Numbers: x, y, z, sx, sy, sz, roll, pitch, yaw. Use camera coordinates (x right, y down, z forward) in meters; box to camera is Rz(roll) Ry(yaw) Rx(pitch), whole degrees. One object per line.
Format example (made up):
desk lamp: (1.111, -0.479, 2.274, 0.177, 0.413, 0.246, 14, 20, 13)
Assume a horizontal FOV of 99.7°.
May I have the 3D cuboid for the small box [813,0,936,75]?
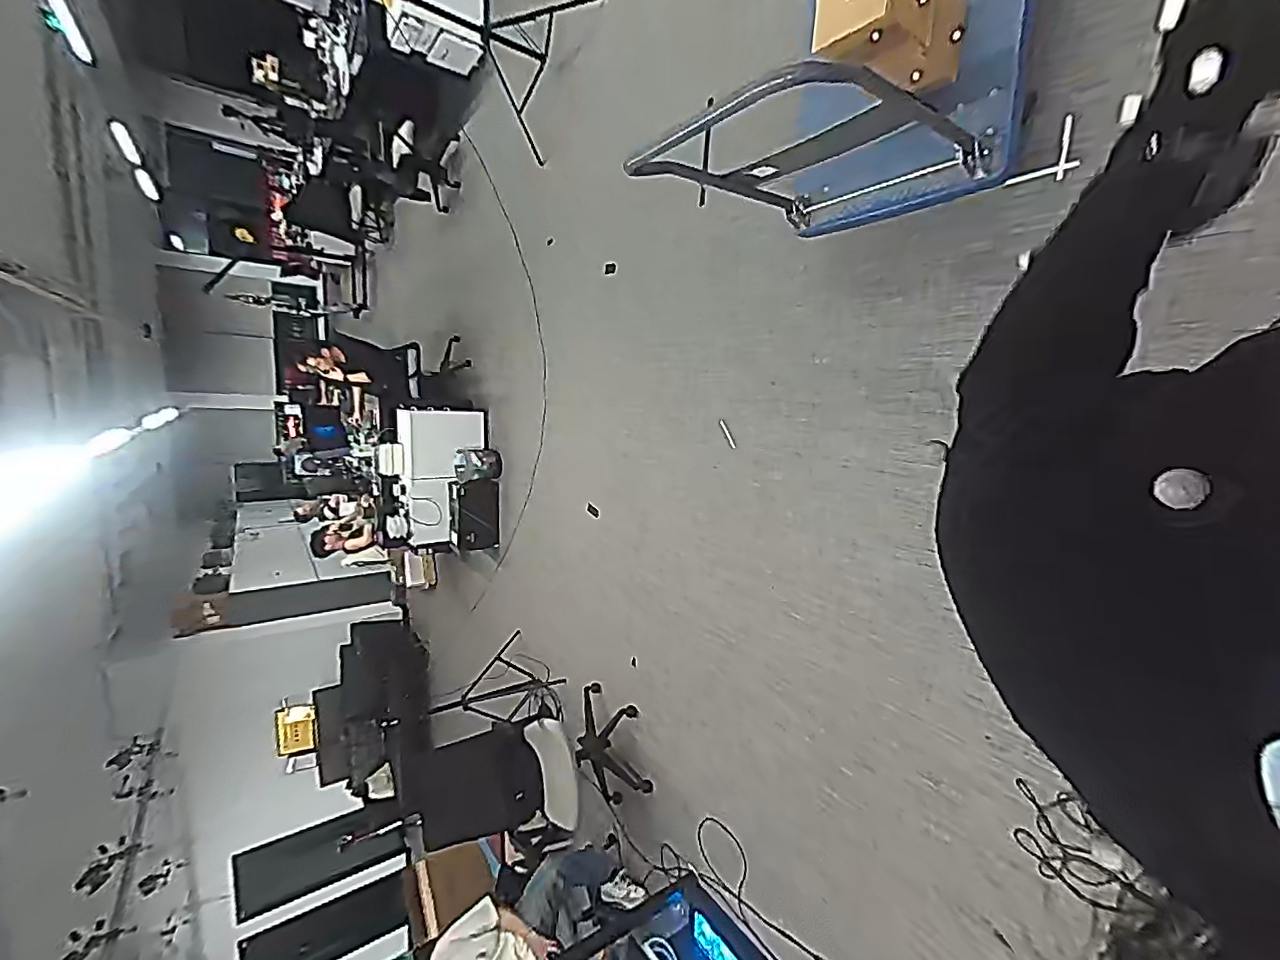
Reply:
small box: (0.494, -0.997, 1.133, 0.179, 0.176, 0.168, 15, 105, 52)
